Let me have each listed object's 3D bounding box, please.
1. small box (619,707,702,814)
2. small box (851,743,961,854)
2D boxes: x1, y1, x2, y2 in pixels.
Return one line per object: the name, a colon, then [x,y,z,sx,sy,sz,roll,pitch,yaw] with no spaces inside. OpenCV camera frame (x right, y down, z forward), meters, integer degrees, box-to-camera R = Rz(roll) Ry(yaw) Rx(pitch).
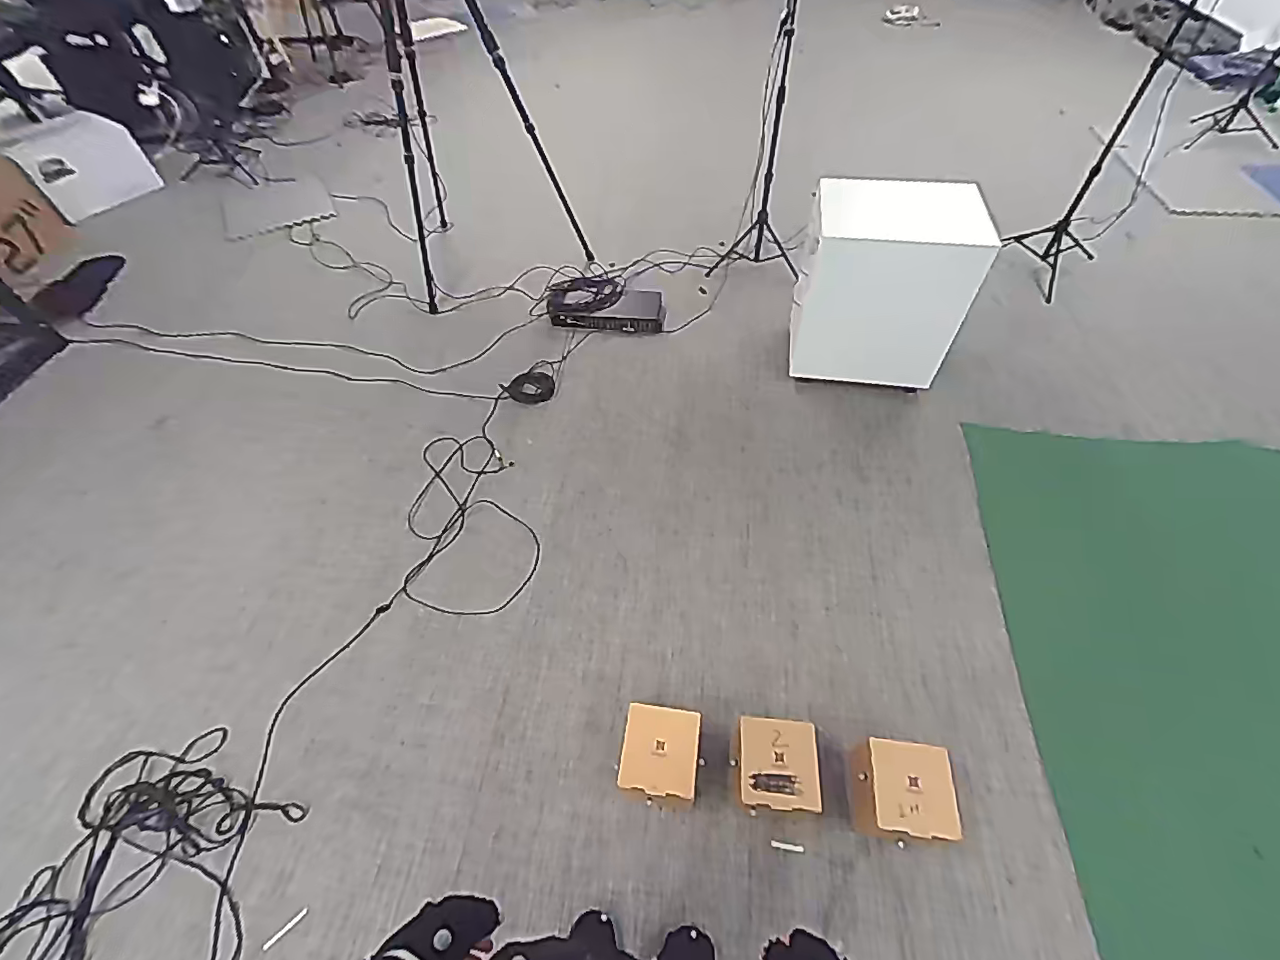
small box: [0.051,0.655,1.260,0.168,0.176,0.179,6,53,8]
small box: [0.575,0.706,1.196,0.168,0.176,0.179,6,53,8]
